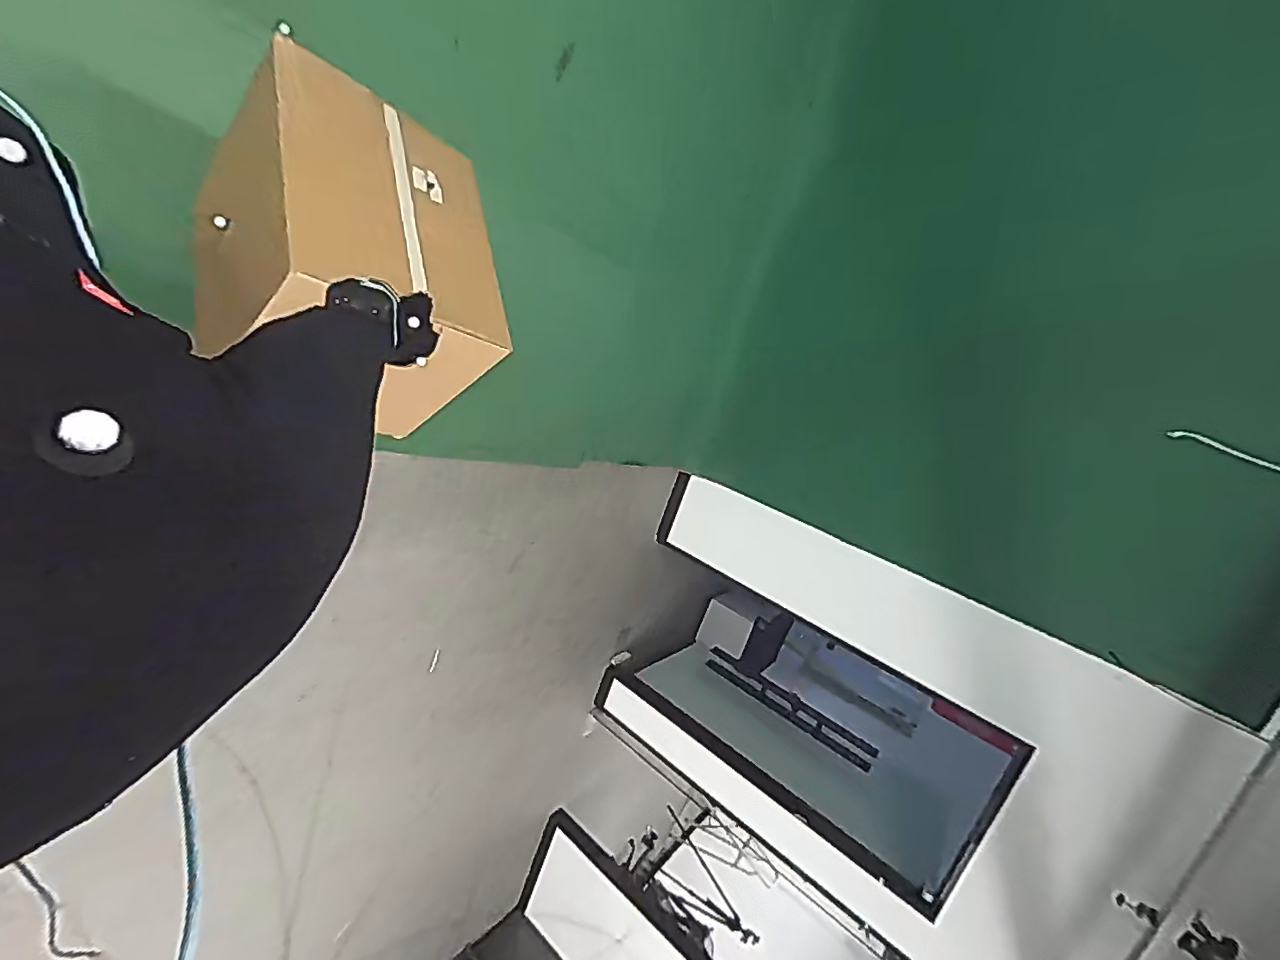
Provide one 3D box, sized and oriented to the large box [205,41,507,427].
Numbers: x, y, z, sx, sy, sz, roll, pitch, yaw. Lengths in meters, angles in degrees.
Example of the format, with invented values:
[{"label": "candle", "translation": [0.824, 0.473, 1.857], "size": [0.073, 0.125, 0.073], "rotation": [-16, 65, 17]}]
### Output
[{"label": "large box", "translation": [-0.464, -0.342, 0.870], "size": [0.320, 0.408, 0.320], "rotation": [-27, 159, 32]}]
